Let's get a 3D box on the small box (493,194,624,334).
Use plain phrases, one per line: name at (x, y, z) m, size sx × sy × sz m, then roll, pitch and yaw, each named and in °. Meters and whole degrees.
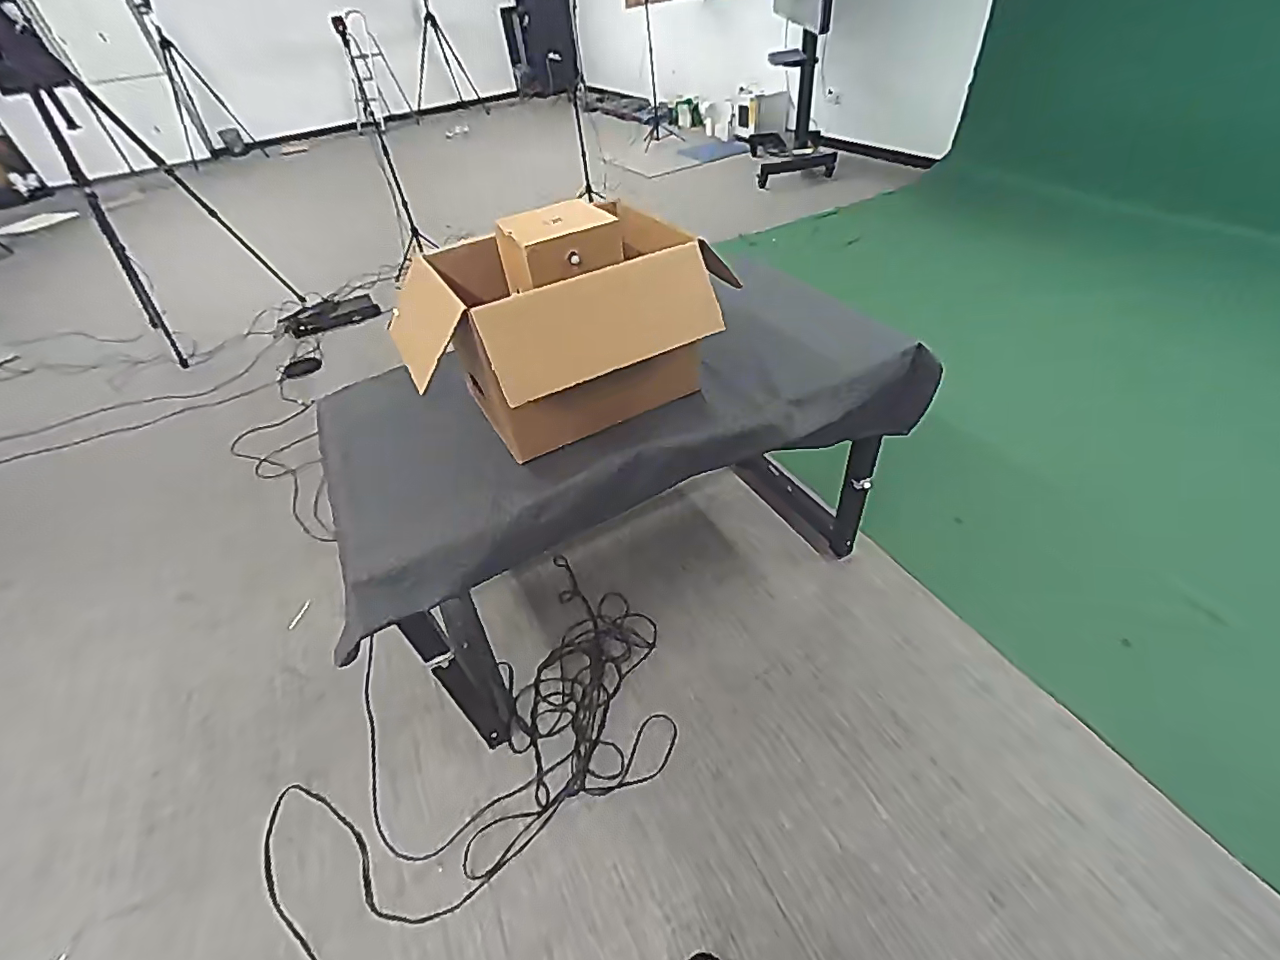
small box at (-0.139, -0.389, 0.974) m, size 0.179 × 0.176 × 0.168 m, roll -25°, pitch 46°, yaw -17°
